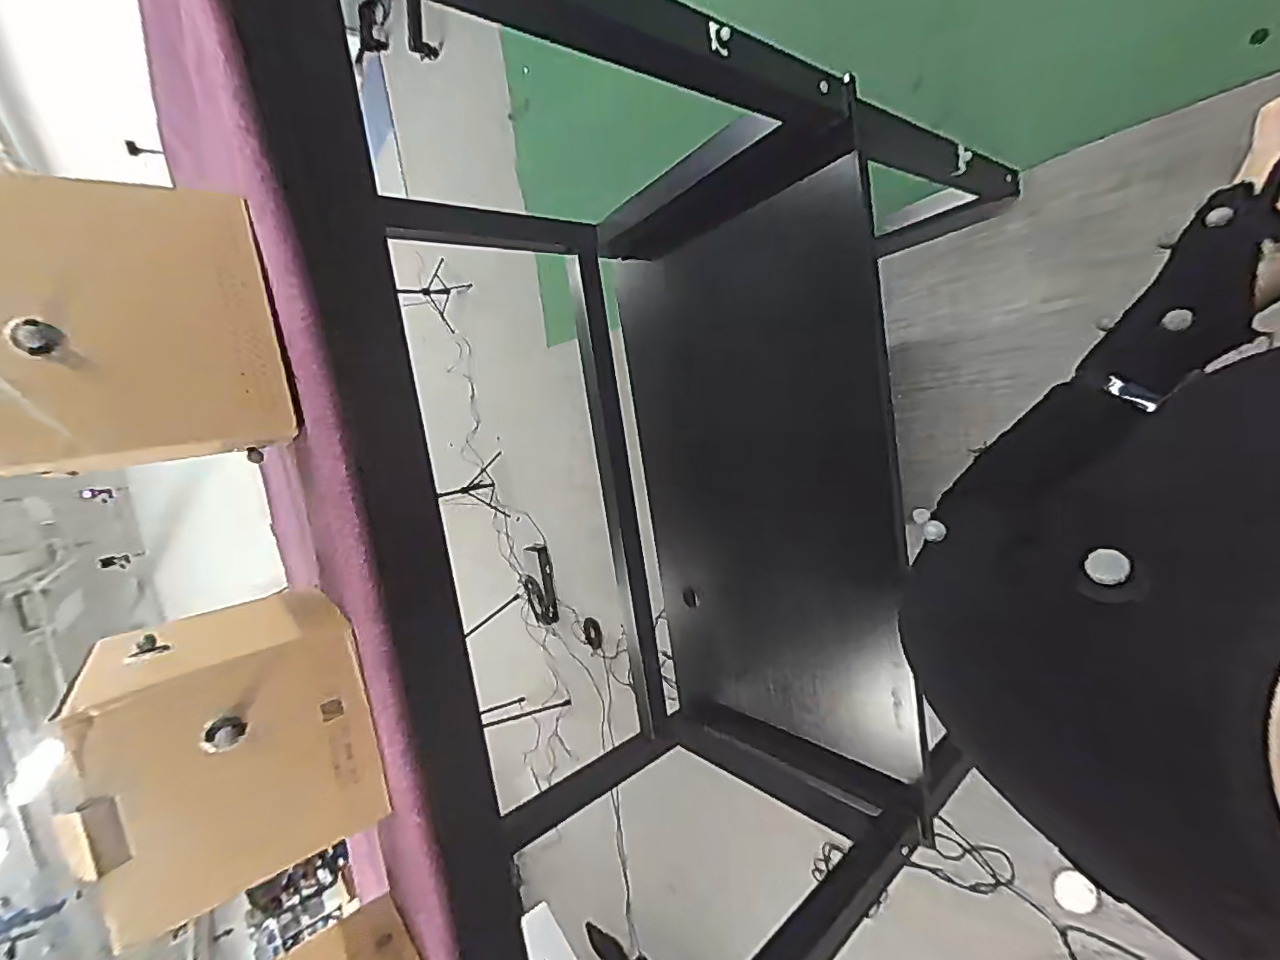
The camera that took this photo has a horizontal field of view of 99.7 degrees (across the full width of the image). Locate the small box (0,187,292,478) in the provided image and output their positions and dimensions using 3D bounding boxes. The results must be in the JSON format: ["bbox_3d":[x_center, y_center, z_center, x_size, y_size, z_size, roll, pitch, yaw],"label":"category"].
[{"bbox_3d":[-0.382,-0.103,0.412,0.168,0.176,0.179,-1,100,54],"label":"small box"}]

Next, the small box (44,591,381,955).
[{"bbox_3d":[-0.325,0.202,0.441,0.179,0.176,0.168,2,101,52],"label":"small box"}]
